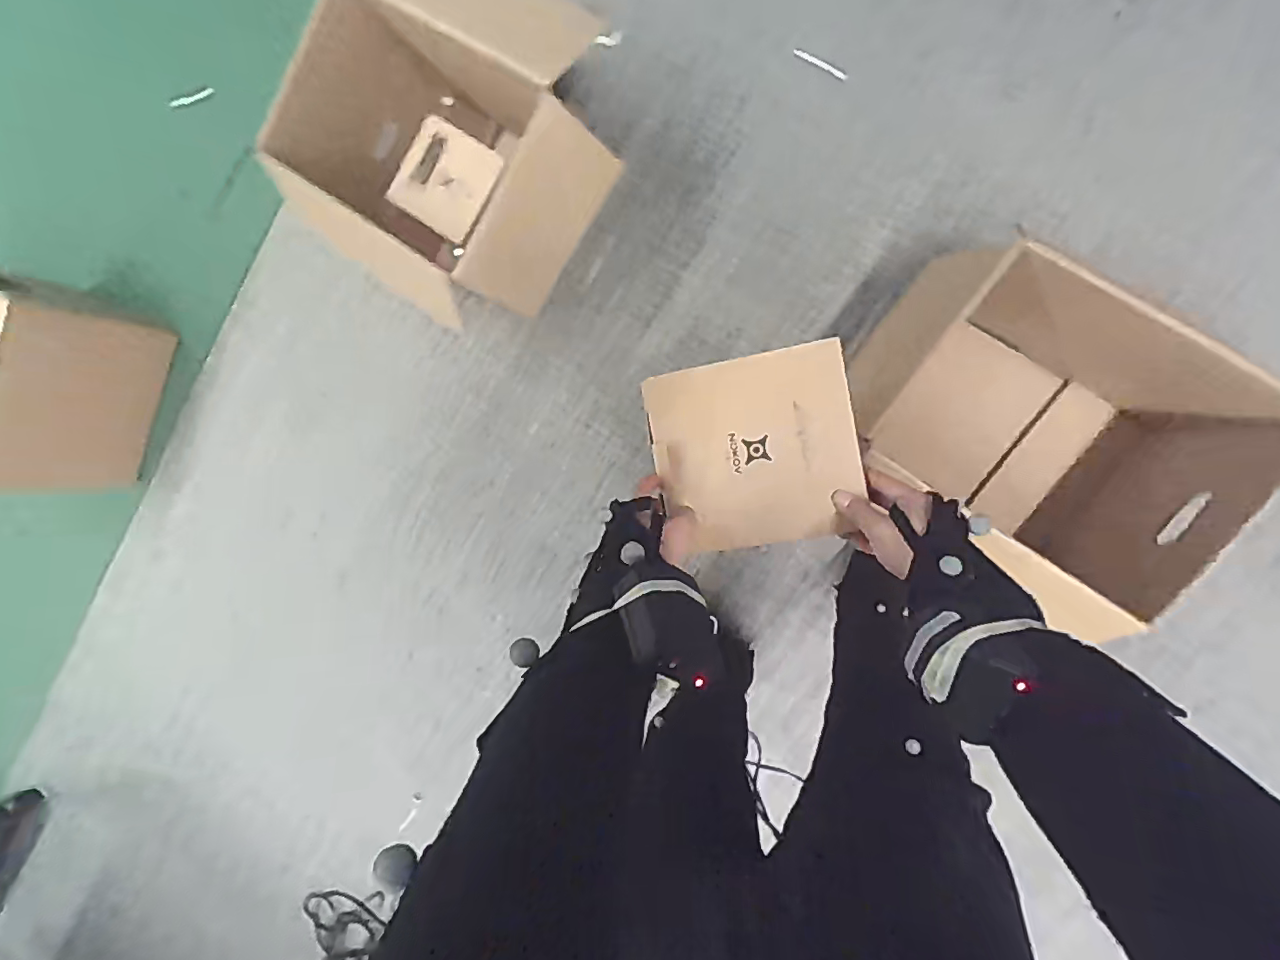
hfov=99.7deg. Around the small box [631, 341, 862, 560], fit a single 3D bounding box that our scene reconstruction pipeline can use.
[{"bbox_3d":[0.104,-0.024,0.544,0.179,0.176,0.168,-11,90,11],"label":"small box"}]
